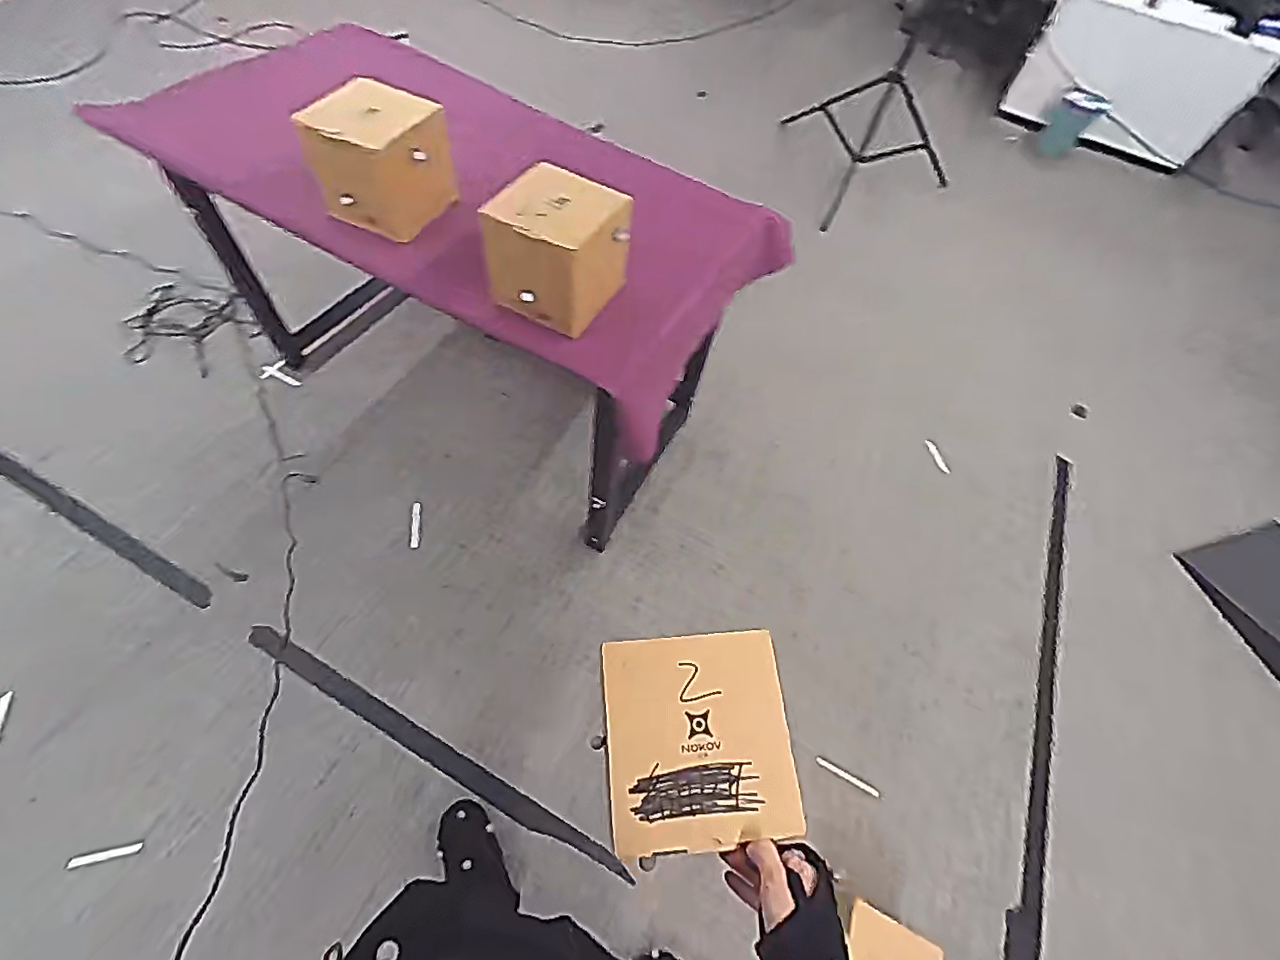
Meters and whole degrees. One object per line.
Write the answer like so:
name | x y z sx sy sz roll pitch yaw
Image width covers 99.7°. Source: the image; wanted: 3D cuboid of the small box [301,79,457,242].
small box | -0.445 -0.563 0.962 0.168 0.176 0.179 24 60 7

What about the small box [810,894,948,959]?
small box | 0.447 0.932 1.038 0.179 0.176 0.168 27 60 7

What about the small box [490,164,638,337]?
small box | -0.121 -0.373 0.888 0.168 0.176 0.179 27 59 10
